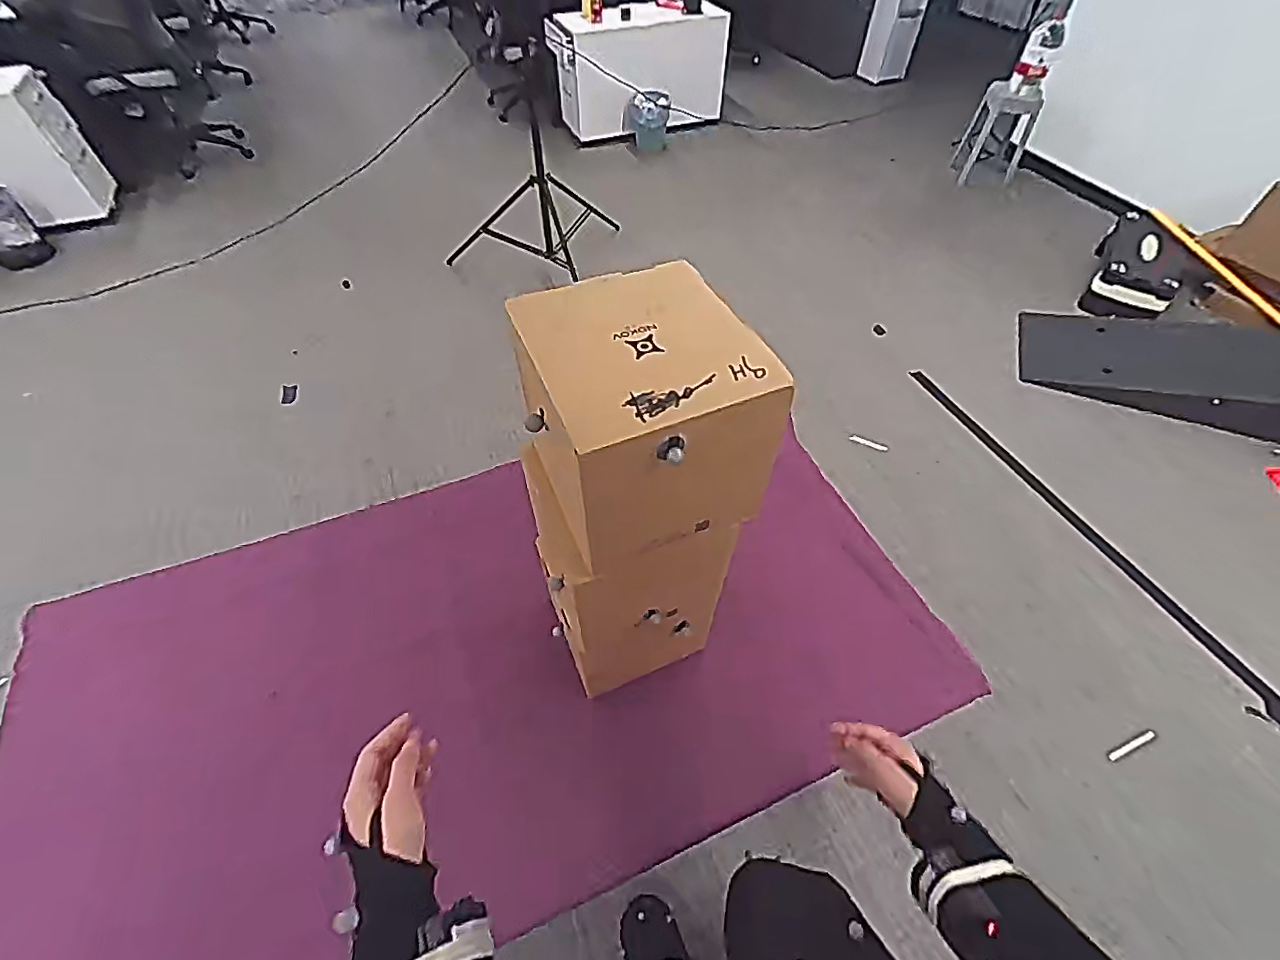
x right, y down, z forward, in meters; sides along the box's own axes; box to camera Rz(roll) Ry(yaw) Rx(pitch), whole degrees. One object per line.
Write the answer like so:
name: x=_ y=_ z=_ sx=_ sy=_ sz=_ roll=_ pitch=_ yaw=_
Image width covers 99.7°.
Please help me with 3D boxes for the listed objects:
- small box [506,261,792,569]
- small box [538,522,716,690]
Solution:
small box: x=-0.002 y=-0.055 z=0.466 sx=0.168 sy=0.176 sz=0.179 roll=-20 pitch=55 yaw=-14
small box: x=-0.021 y=0.151 z=0.721 sx=0.179 sy=0.176 sz=0.168 roll=-20 pitch=54 yaw=-14
